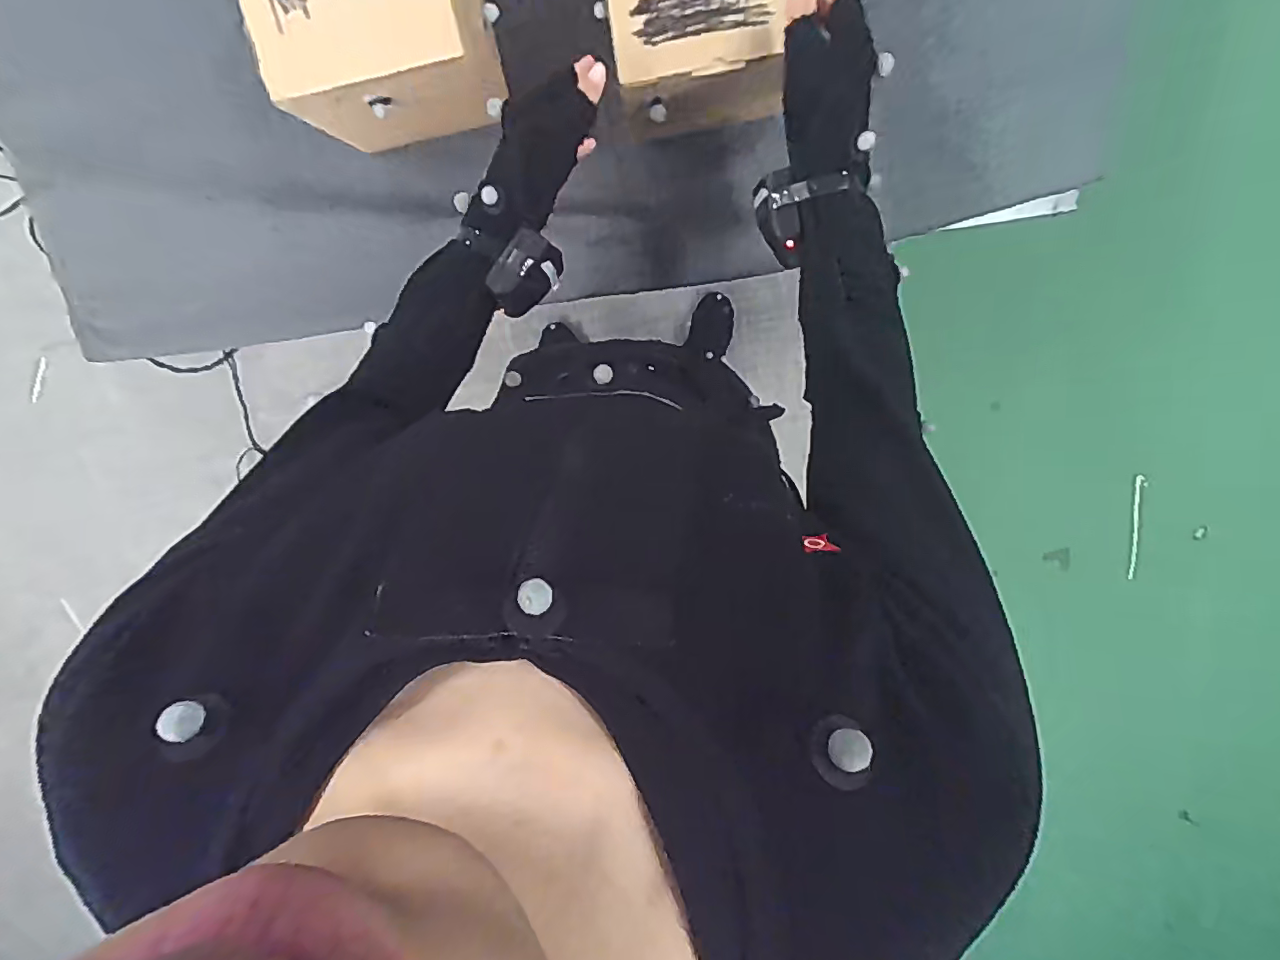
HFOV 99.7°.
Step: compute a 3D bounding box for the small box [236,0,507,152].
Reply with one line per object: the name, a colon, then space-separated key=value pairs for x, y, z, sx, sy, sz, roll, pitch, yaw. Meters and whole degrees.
small box: x=-0.247 y=-0.436 z=0.512 sx=0.179 sy=0.176 sz=0.168 roll=-10 pitch=108 yaw=4
